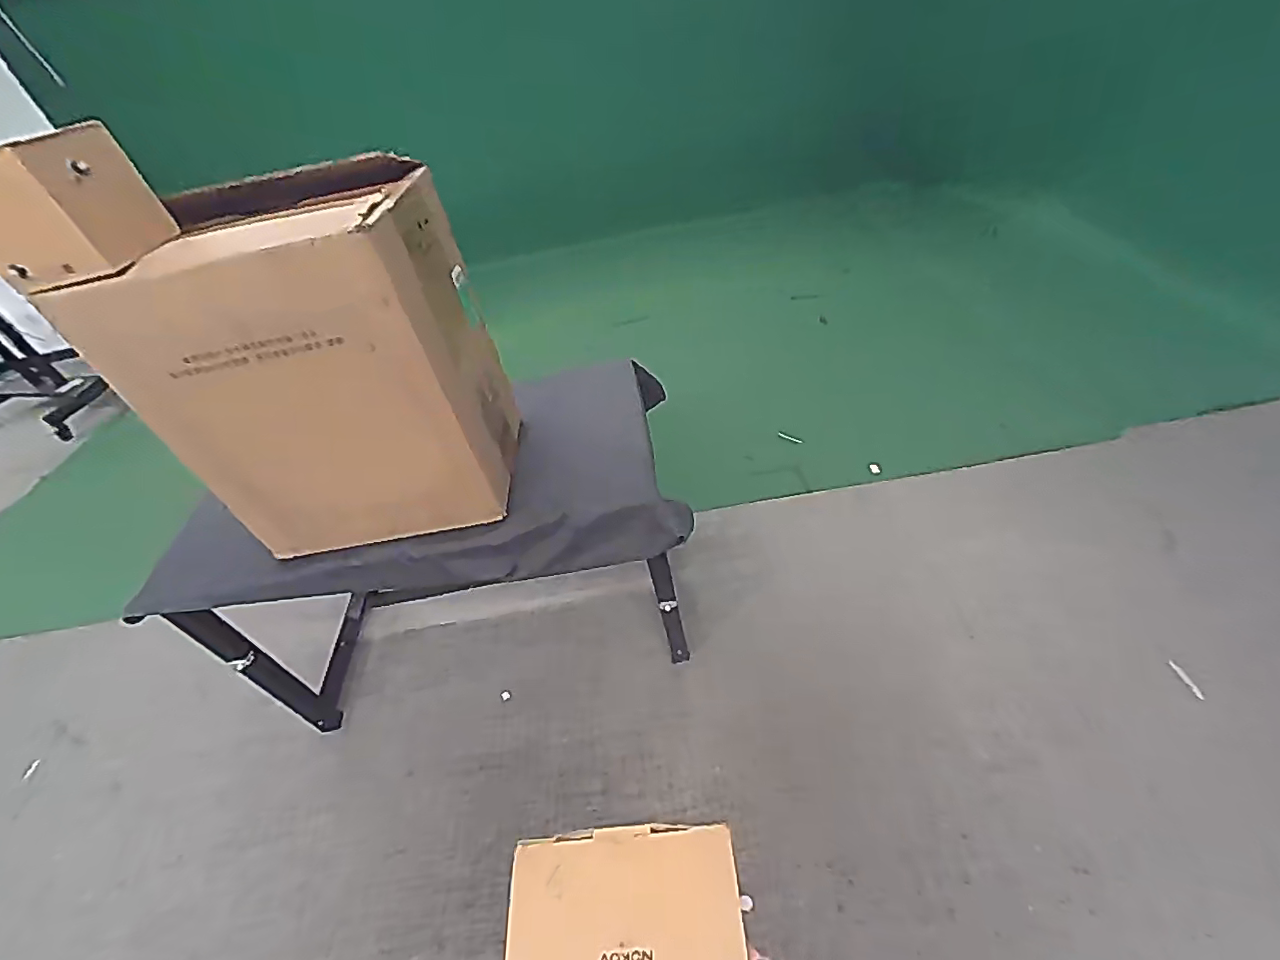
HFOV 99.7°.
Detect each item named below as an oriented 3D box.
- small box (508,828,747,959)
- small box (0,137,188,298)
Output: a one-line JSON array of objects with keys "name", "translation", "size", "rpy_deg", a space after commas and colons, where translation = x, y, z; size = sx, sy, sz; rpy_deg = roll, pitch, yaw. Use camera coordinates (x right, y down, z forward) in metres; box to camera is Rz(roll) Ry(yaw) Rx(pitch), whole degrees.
[{"name": "small box", "translation": [-0.004, 0.388, 0.413], "size": [0.168, 0.176, 0.179], "rpy_deg": [-5, 48, 1]}, {"name": "small box", "translation": [-0.857, -0.394, 0.825], "size": [0.168, 0.176, 0.179], "rpy_deg": [-10, 41, 6]}]
